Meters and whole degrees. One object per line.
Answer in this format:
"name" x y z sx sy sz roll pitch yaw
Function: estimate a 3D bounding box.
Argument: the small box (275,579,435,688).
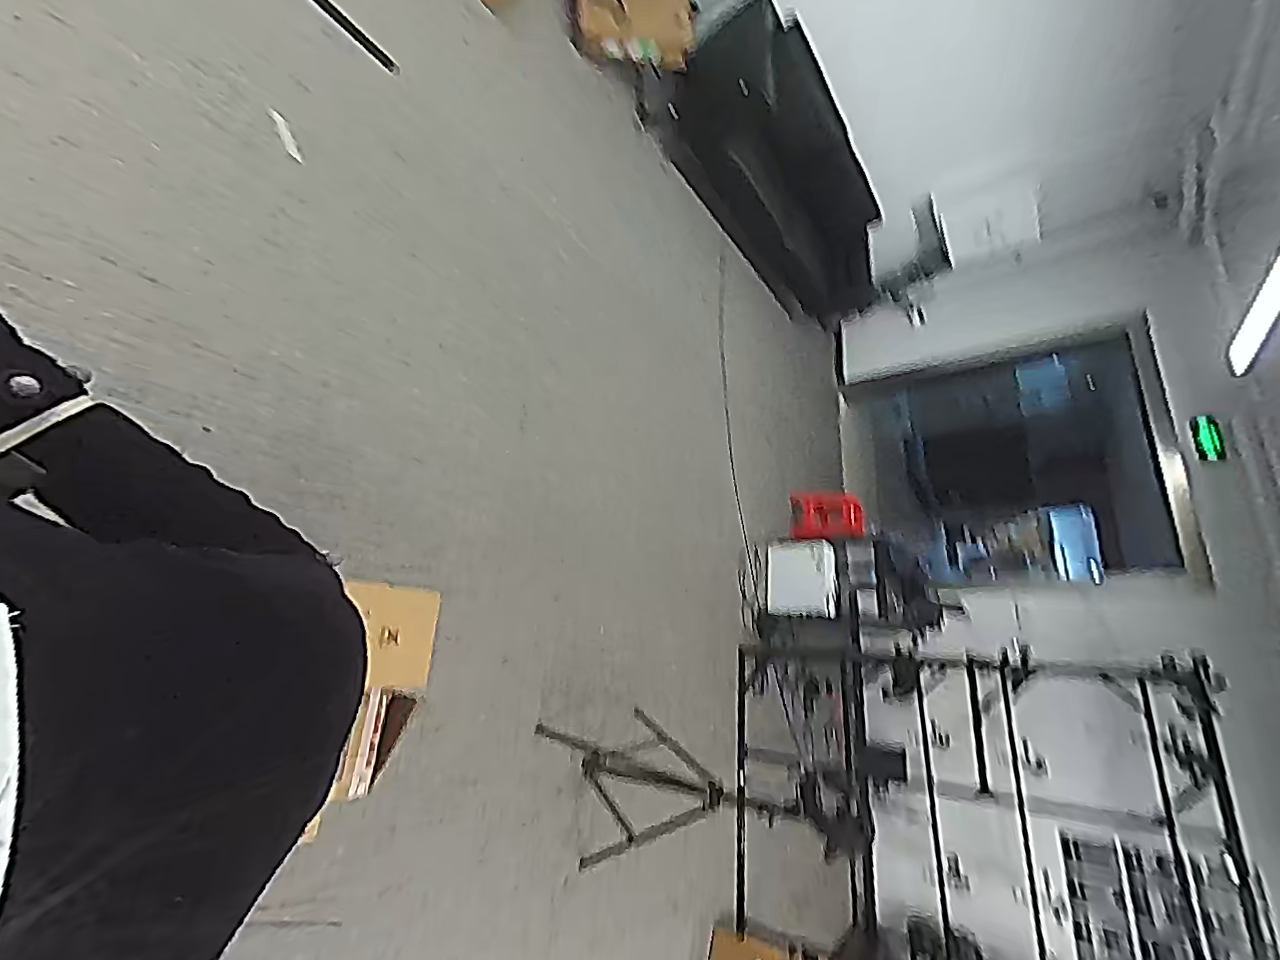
"small box" -0.499 0.273 0.955 0.179 0.176 0.168 26 60 -47
